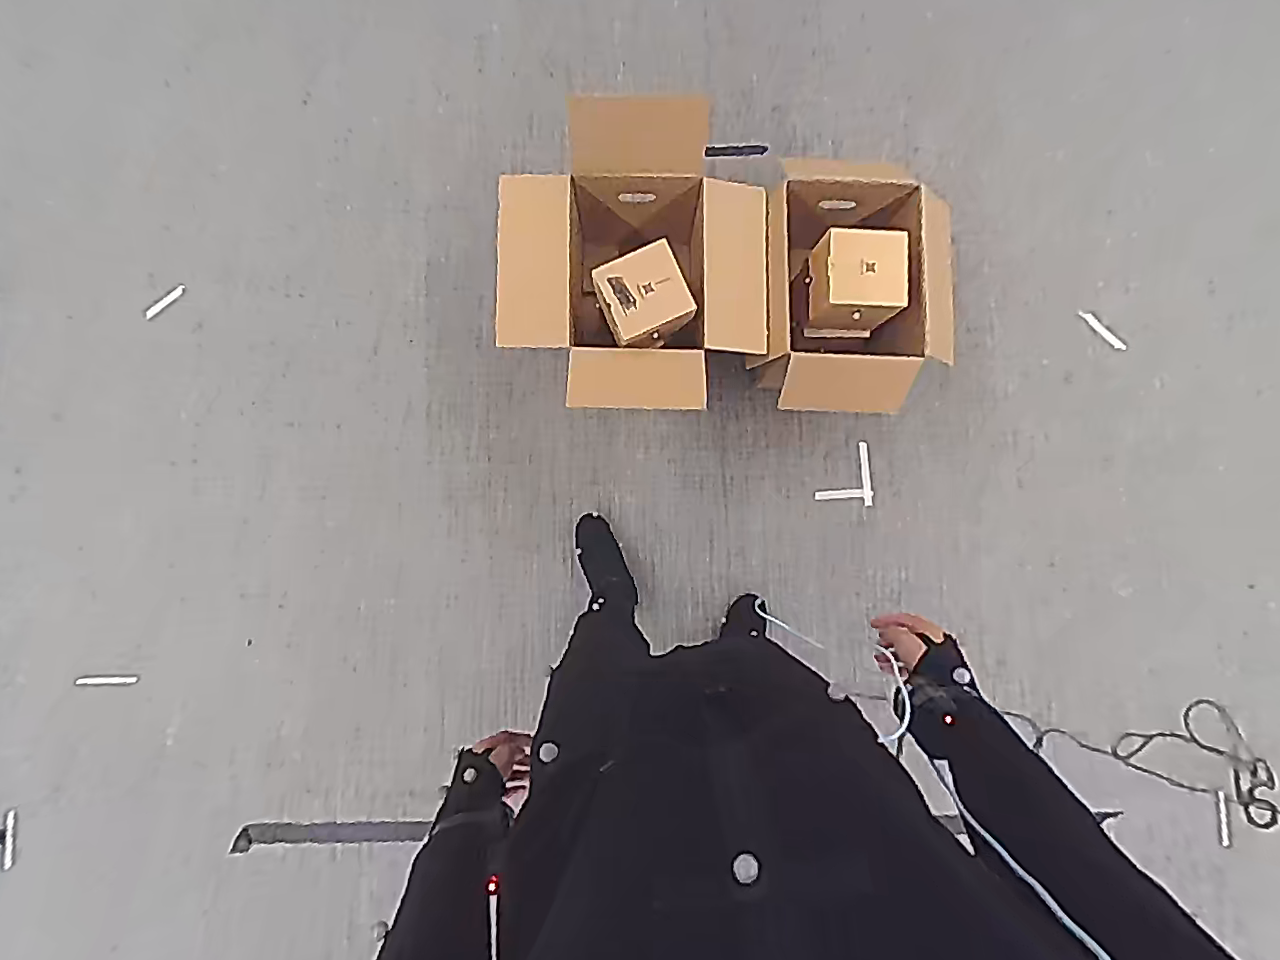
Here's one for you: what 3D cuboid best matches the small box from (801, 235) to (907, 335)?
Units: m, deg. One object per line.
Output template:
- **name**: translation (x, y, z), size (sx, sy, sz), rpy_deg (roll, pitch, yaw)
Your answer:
- **small box**: translation (0.485, -0.440, 1.241), size (0.179, 0.176, 0.168), rpy_deg (1, 87, -1)
